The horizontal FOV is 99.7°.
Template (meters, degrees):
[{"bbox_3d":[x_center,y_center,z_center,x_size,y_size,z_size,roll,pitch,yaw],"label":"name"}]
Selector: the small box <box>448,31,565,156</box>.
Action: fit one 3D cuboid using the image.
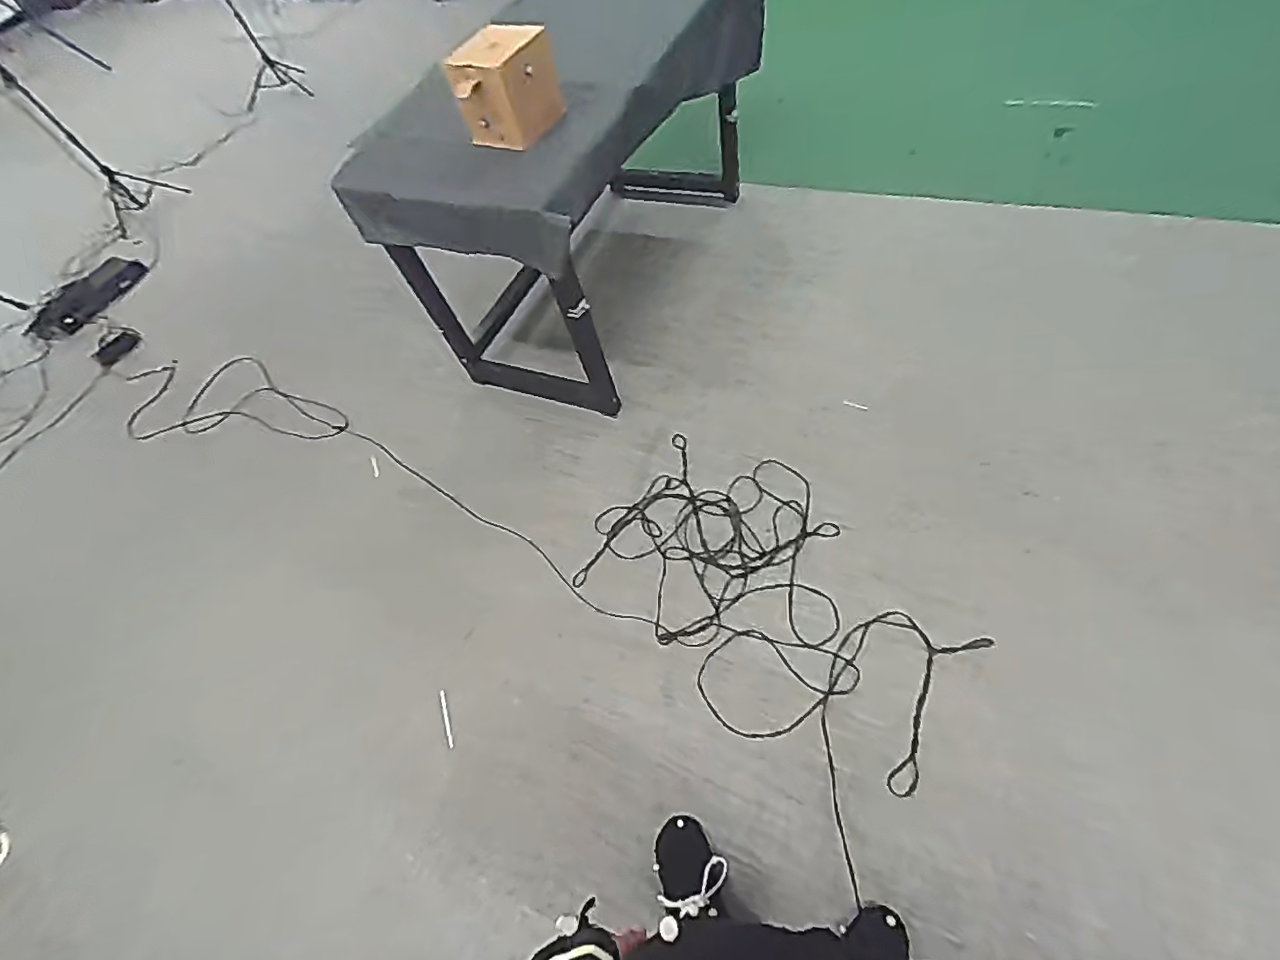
[{"bbox_3d":[-0.289,-0.872,1.222,0.168,0.176,0.179,23,66,23],"label":"small box"}]
